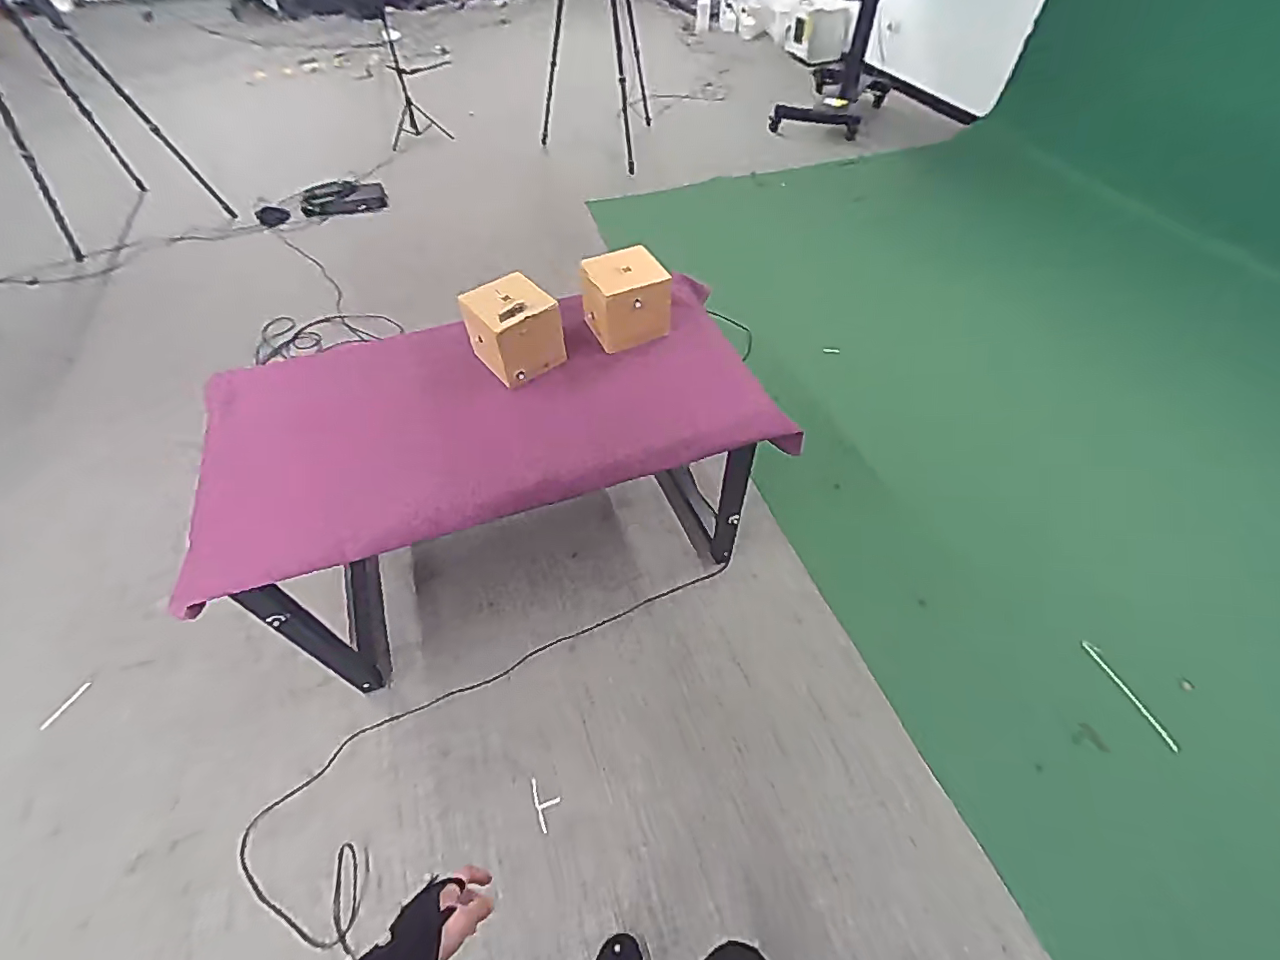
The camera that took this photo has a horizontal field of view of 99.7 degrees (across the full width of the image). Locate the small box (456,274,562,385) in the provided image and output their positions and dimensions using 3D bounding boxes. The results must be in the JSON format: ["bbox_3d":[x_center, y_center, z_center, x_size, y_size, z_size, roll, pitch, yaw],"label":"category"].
[{"bbox_3d":[-0.301,-0.348,1.279,0.168,0.176,0.179,-34,59,-22],"label":"small box"}]

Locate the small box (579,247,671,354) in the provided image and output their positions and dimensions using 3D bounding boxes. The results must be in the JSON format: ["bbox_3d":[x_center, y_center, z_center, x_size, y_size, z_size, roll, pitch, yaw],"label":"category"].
[{"bbox_3d":[-0.037,-0.446,1.350,0.179,0.176,0.168,-22,56,-14],"label":"small box"}]
